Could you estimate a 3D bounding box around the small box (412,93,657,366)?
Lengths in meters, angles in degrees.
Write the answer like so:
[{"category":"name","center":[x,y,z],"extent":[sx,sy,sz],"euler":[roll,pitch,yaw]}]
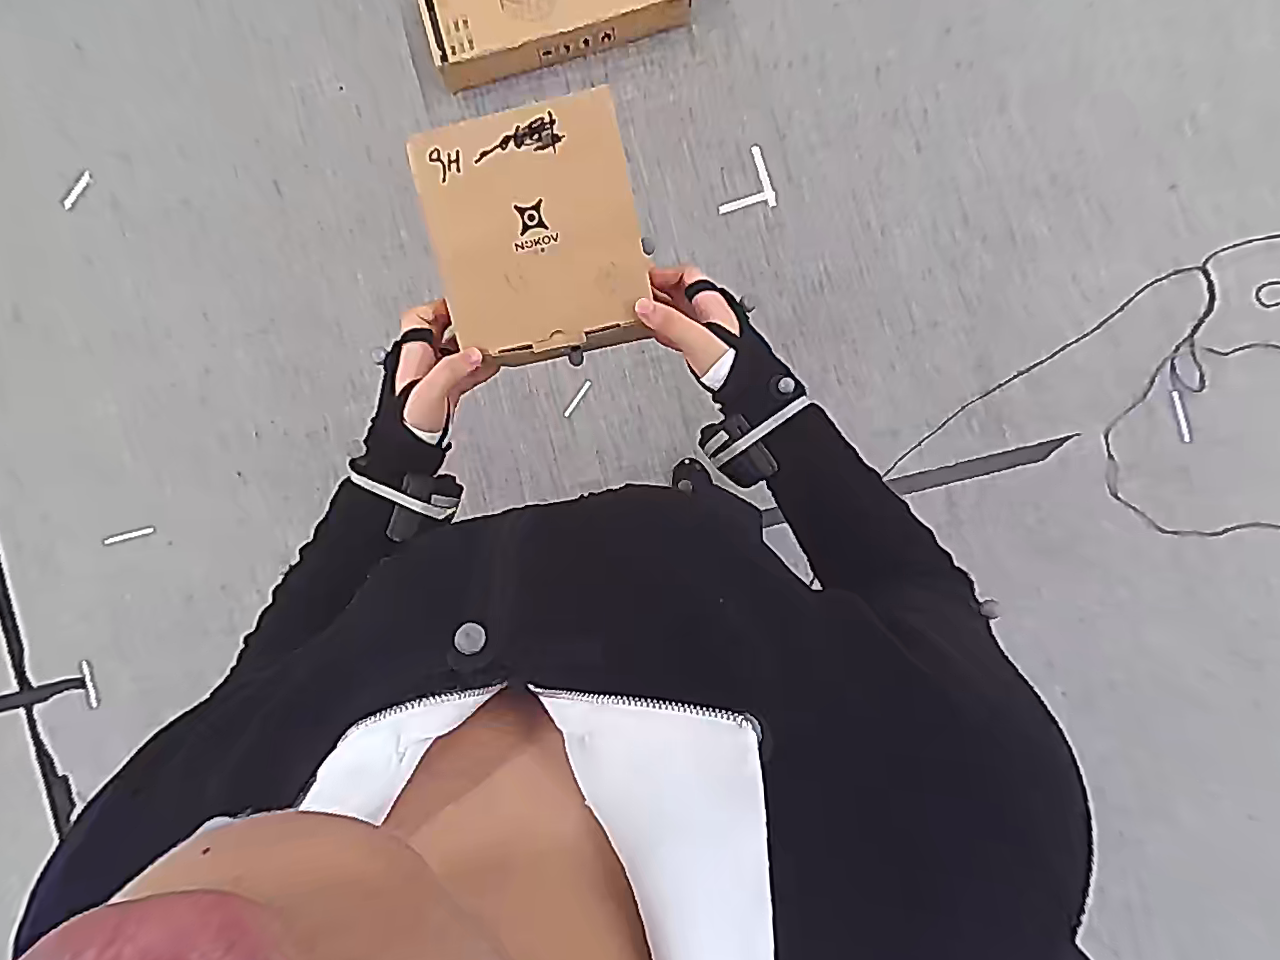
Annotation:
[{"category":"small box","center":[-0.078,-0.210,0.505],"extent":[0.168,0.176,0.179],"euler":[-12,101,3]}]
